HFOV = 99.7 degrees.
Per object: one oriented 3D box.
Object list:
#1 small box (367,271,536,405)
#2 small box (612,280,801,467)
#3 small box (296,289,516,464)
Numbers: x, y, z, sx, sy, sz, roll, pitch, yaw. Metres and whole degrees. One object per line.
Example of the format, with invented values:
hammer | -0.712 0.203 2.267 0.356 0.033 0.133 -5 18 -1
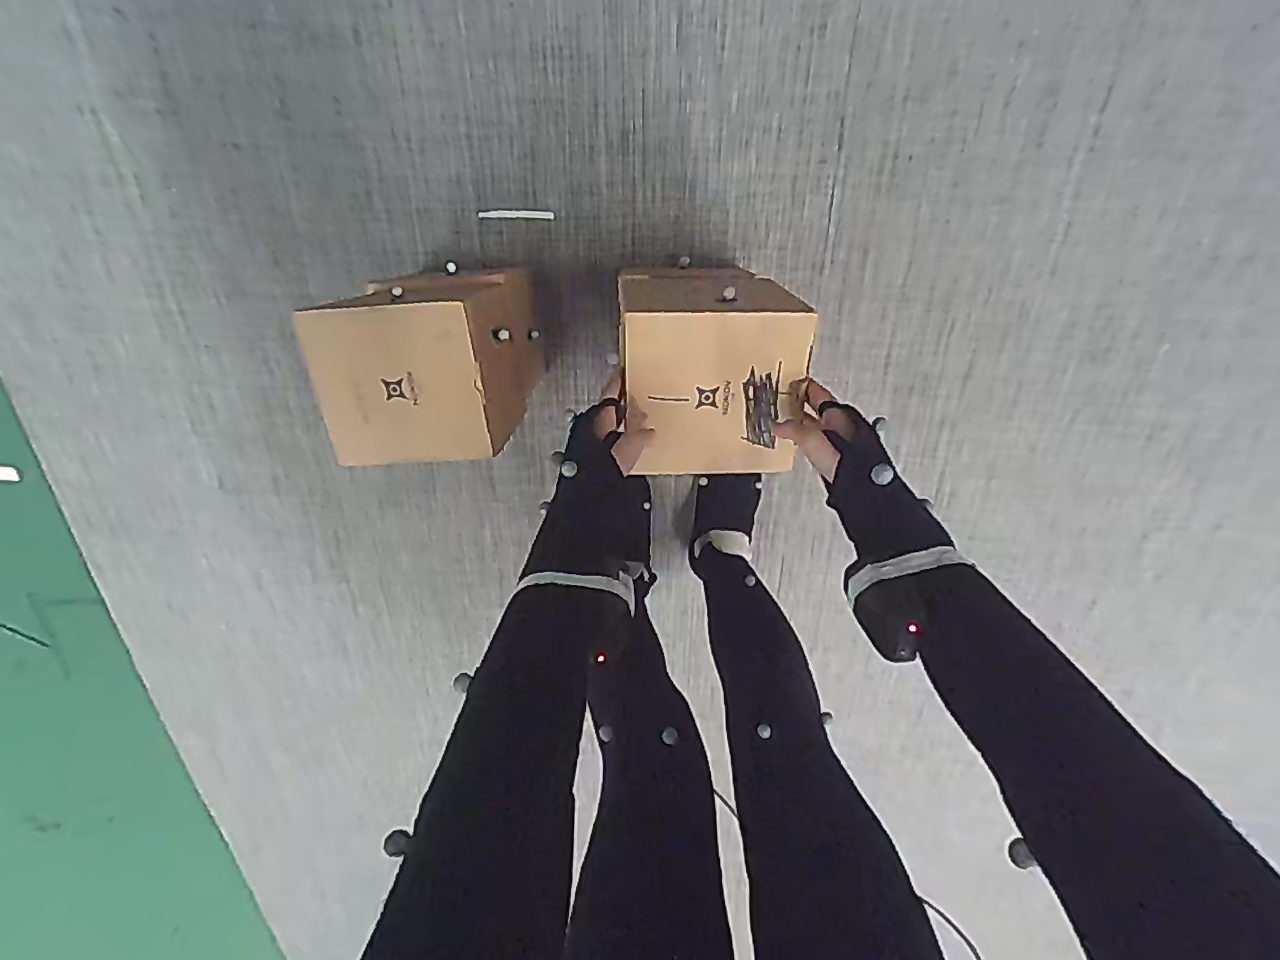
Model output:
small box | -0.254 -0.207 0.783 0.179 0.176 0.168 -3 114 2
small box | 0.059 -0.125 0.605 0.179 0.176 0.168 -1 119 -3
small box | -0.252 -0.129 0.640 0.179 0.176 0.168 -2 114 2
